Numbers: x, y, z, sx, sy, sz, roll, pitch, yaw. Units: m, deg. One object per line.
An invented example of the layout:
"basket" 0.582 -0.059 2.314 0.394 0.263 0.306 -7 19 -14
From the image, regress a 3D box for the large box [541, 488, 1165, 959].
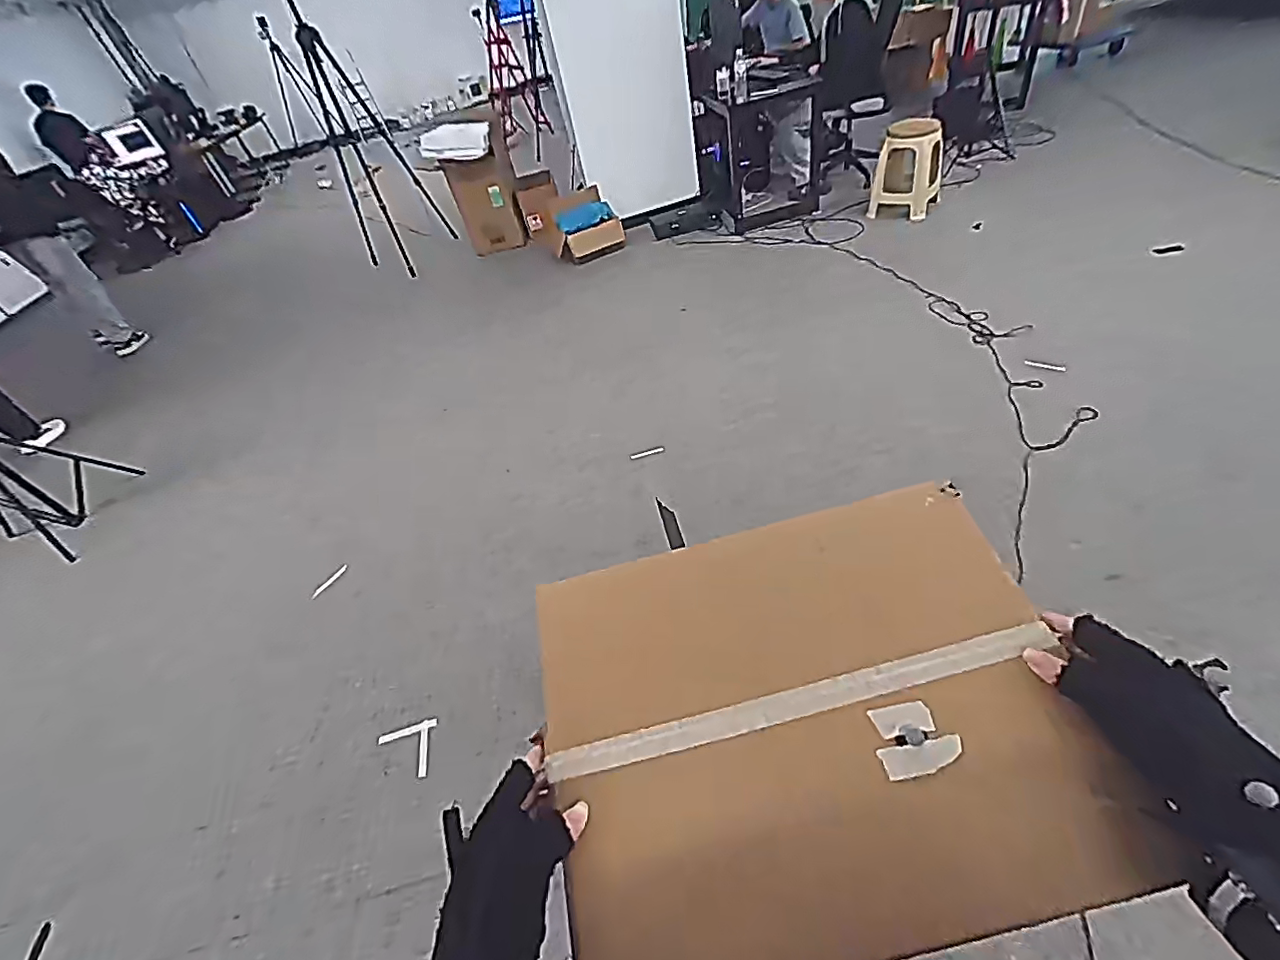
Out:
"large box" 0.148 0.263 0.562 0.408 0.320 0.320 -15 55 0
